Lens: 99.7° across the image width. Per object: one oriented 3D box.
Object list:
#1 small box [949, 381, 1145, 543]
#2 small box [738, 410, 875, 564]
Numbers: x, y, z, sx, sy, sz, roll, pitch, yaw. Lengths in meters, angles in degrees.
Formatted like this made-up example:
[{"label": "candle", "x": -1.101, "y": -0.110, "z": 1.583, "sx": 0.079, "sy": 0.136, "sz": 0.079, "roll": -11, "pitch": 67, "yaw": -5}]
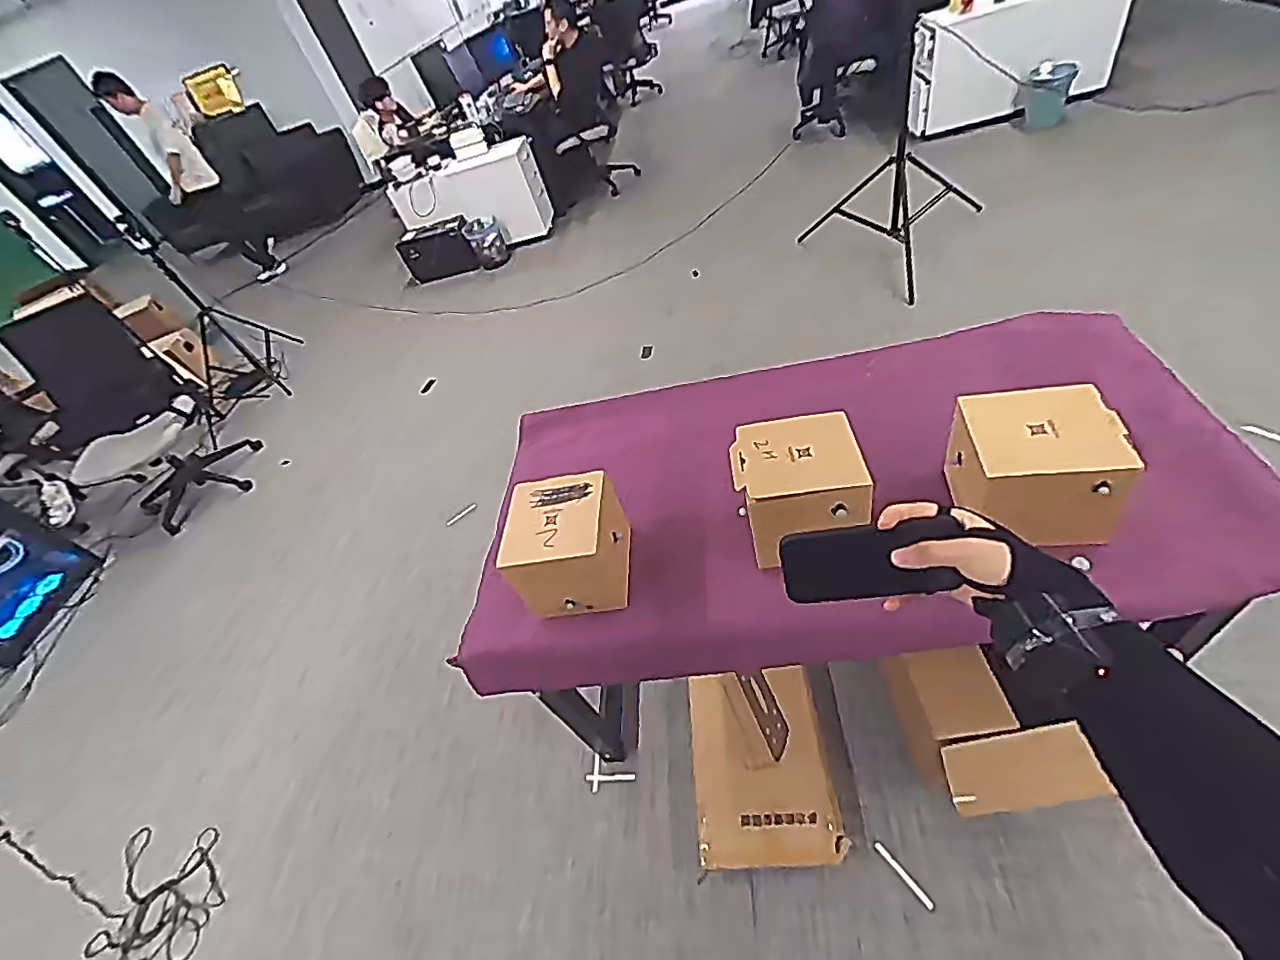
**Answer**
[{"label": "small box", "x": 0.569, "y": -0.020, "z": 0.791, "sx": 0.179, "sy": 0.176, "sz": 0.168, "roll": -4, "pitch": 47, "yaw": 16}, {"label": "small box", "x": 0.262, "y": 0.015, "z": 0.869, "sx": 0.179, "sy": 0.176, "sz": 0.168, "roll": -10, "pitch": 44, "yaw": 11}]
